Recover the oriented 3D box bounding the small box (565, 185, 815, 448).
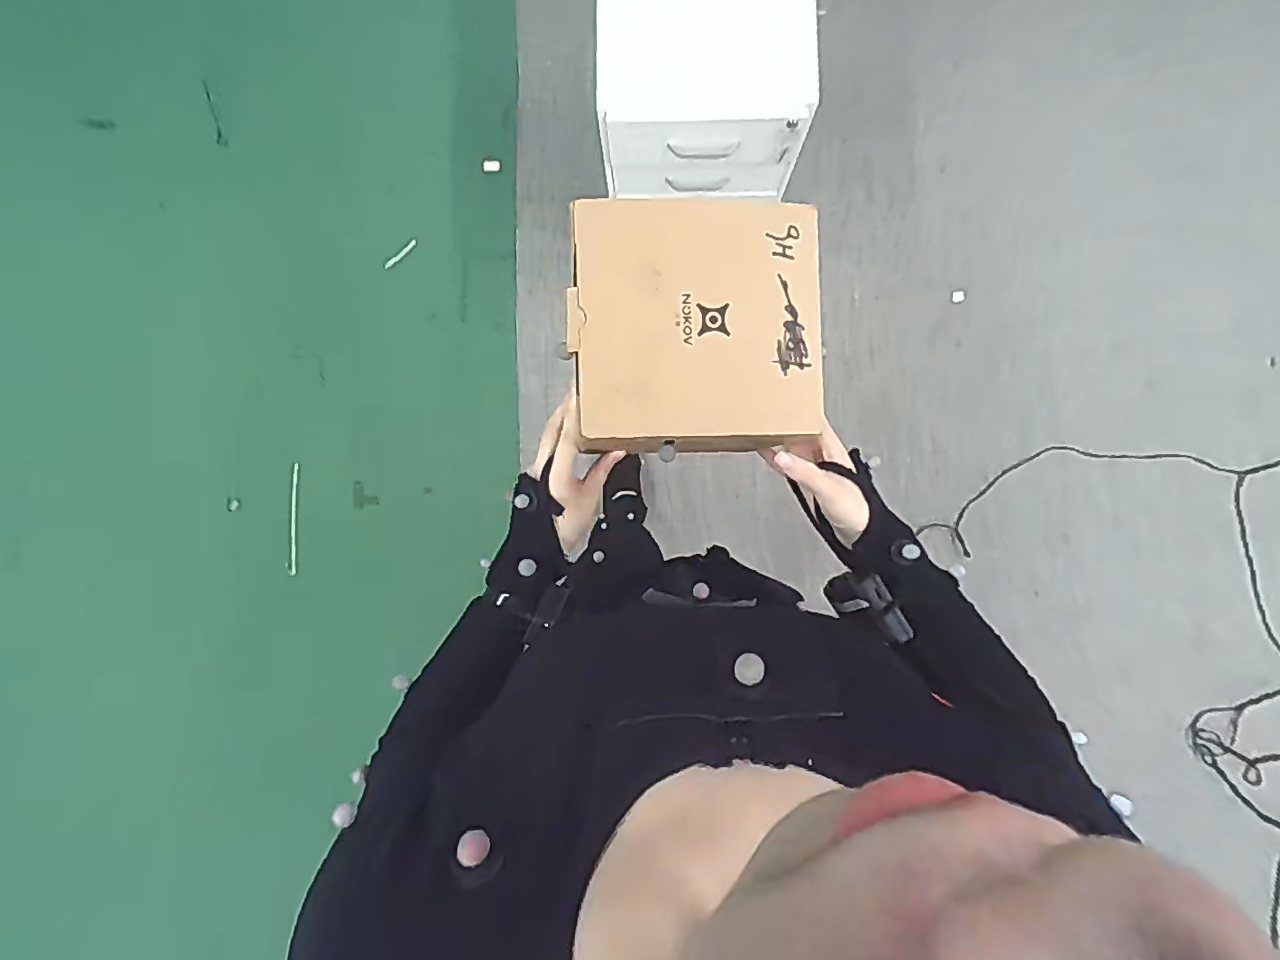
[{"bbox_3d":[0.029,-0.117,0.454,0.179,0.176,0.168,0,87,-6],"label":"small box"}]
